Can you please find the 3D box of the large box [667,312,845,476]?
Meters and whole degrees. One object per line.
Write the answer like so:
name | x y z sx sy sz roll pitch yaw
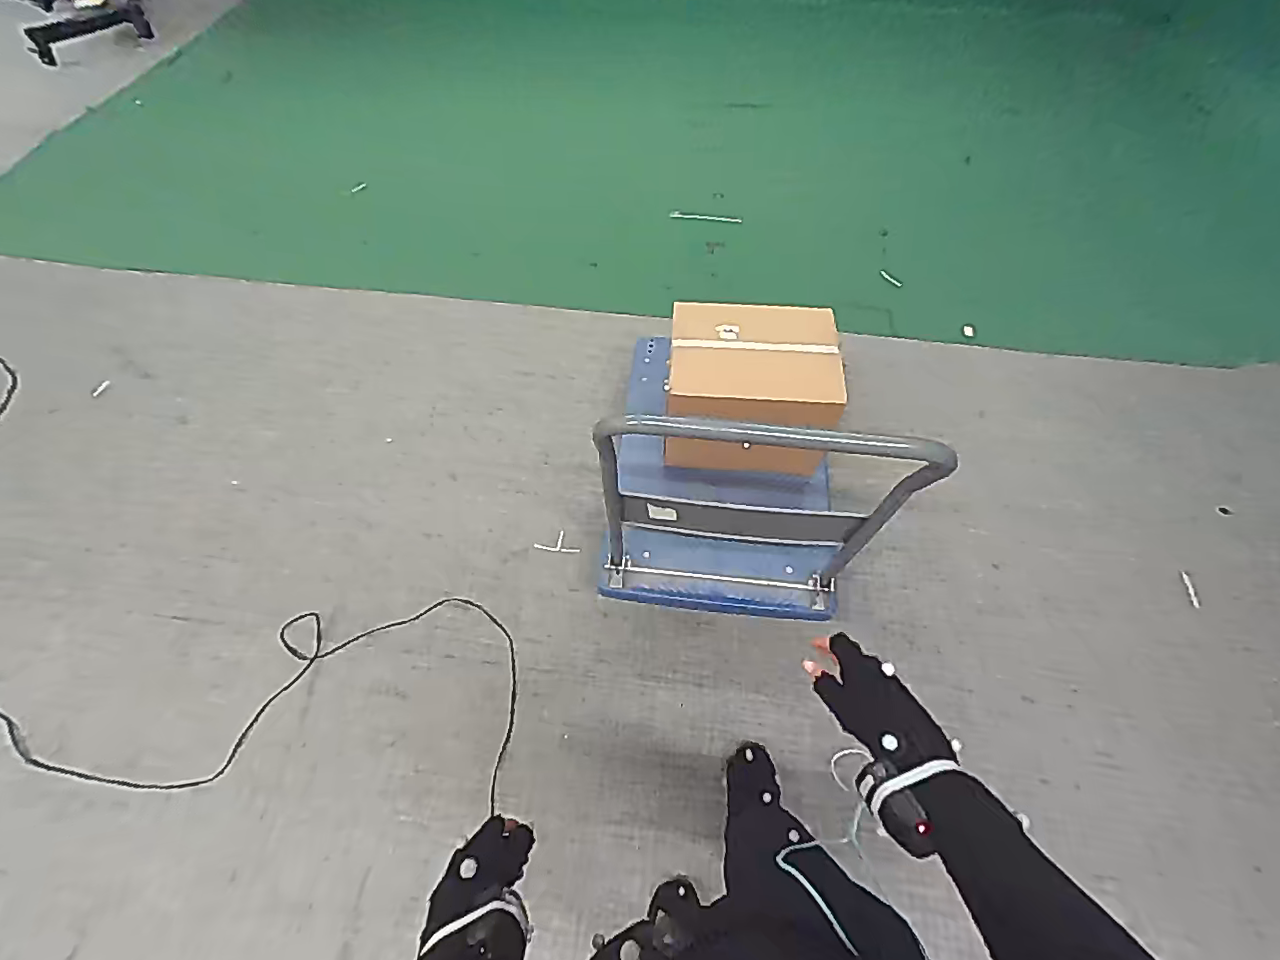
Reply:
large box | 0.283 -0.222 1.439 0.408 0.320 0.320 3 57 3
